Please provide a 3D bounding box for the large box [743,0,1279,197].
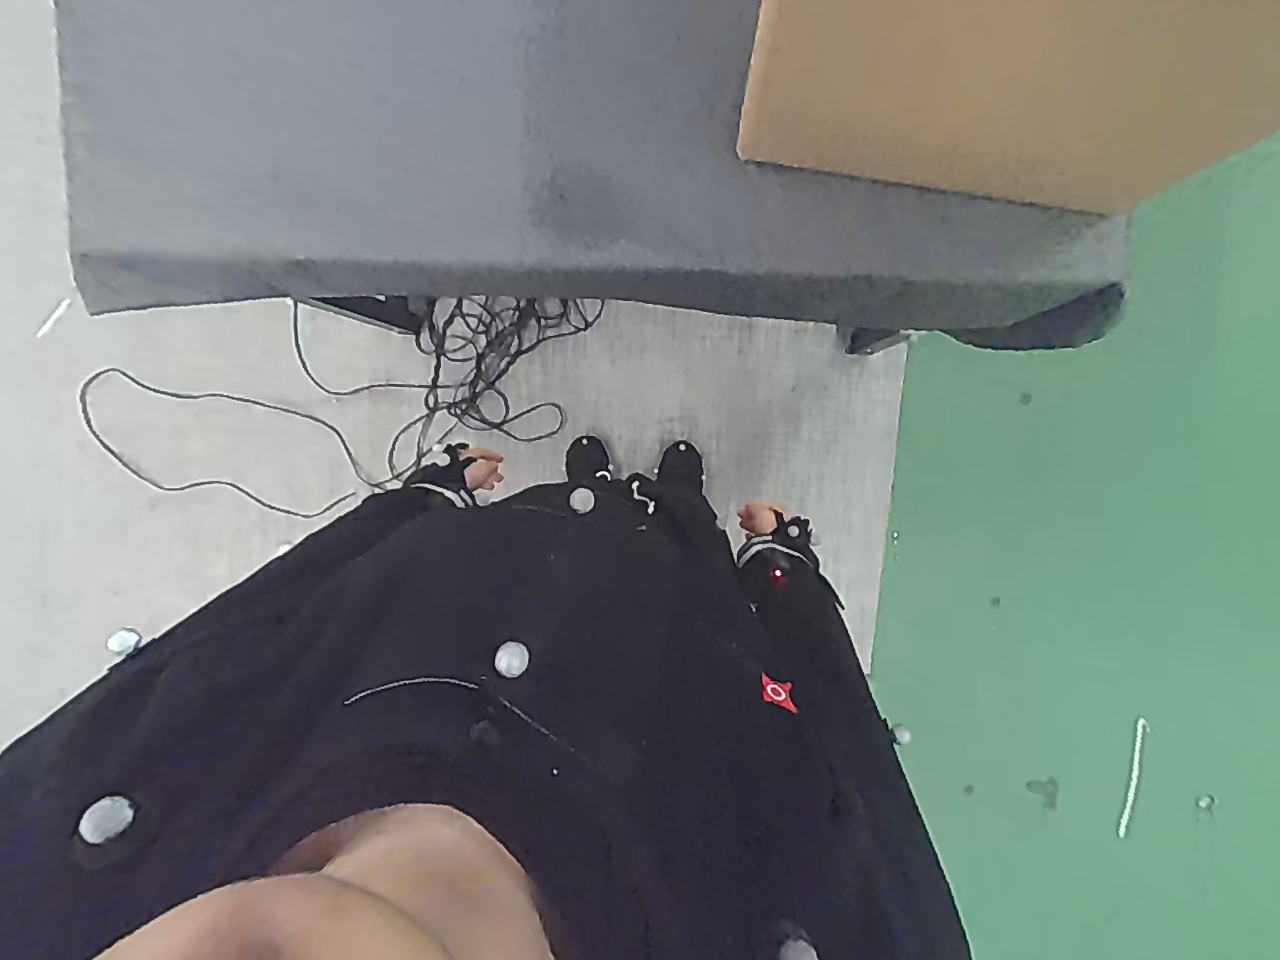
[{"bbox_3d":[0.316,-0.457,0.411,0.408,0.320,0.320,10,97,2],"label":"large box"}]
